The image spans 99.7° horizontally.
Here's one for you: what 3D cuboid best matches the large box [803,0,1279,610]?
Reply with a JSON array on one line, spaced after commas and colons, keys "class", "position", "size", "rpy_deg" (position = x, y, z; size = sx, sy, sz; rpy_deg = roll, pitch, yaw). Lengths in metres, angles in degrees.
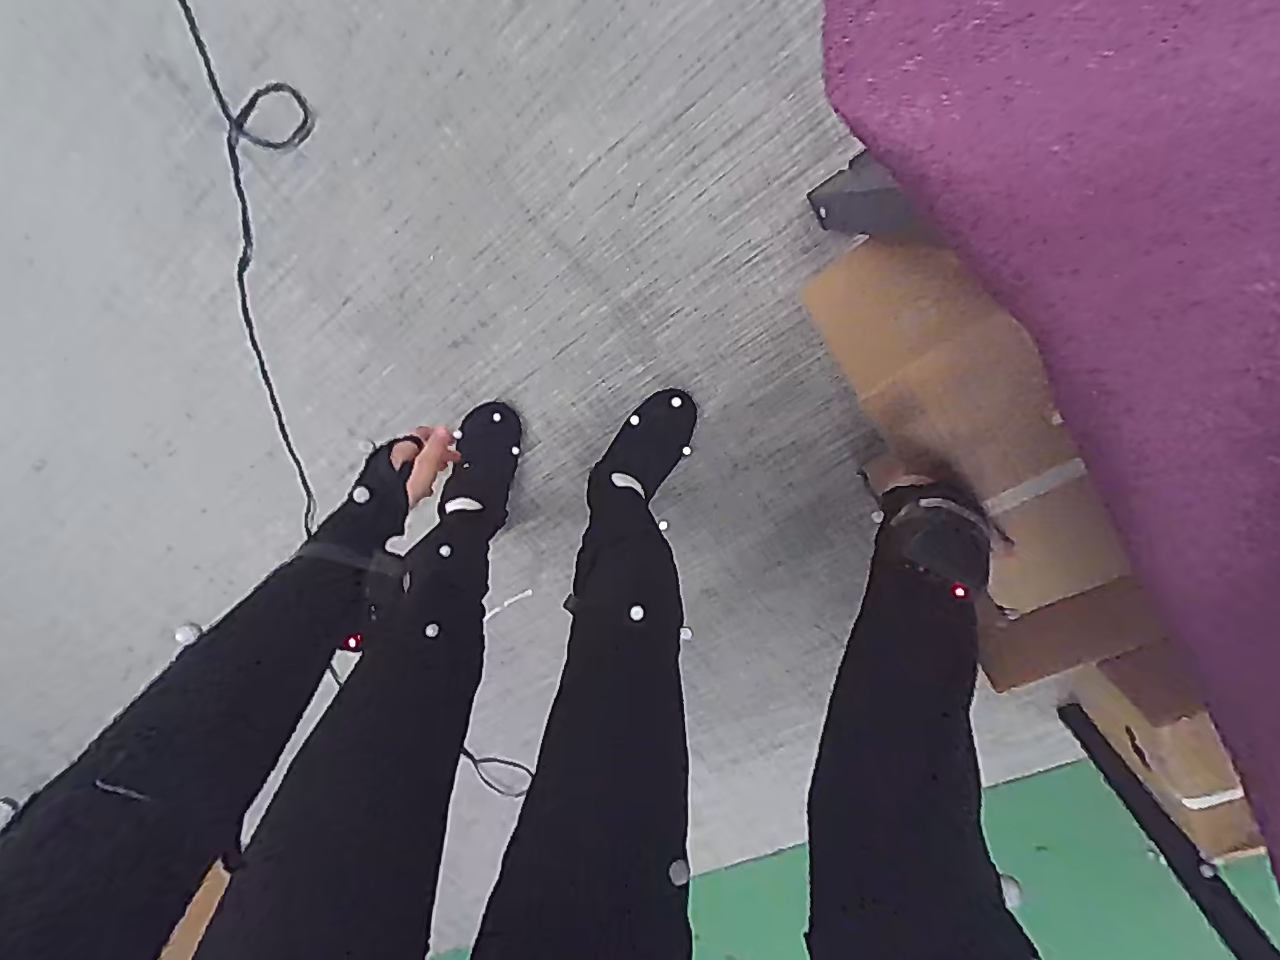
[{"class": "large box", "position": [0.429, -0.151, 0.522], "size": [0.408, 0.320, 0.320], "rpy_deg": [-33, 114, 26]}]
